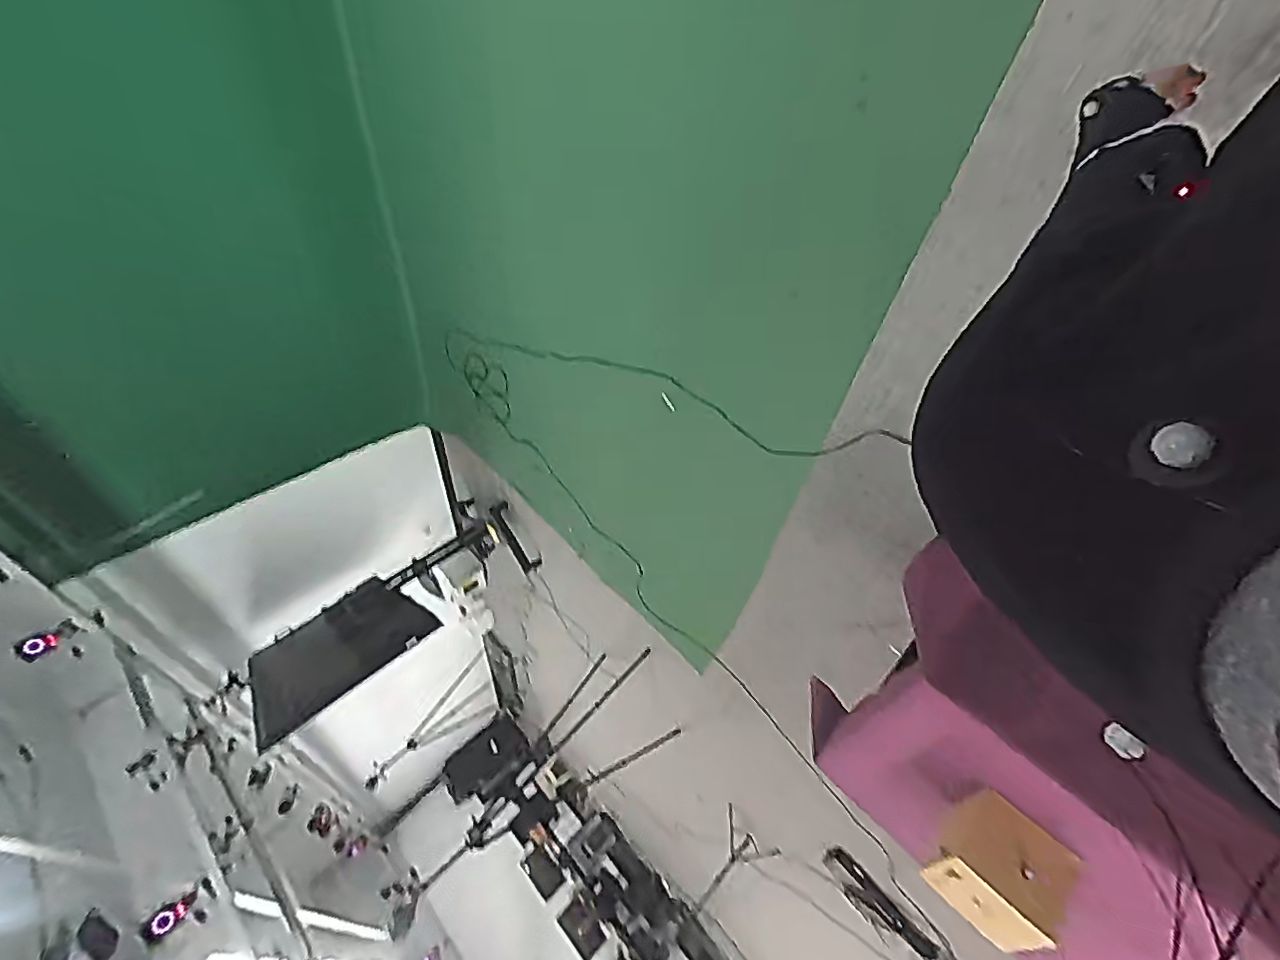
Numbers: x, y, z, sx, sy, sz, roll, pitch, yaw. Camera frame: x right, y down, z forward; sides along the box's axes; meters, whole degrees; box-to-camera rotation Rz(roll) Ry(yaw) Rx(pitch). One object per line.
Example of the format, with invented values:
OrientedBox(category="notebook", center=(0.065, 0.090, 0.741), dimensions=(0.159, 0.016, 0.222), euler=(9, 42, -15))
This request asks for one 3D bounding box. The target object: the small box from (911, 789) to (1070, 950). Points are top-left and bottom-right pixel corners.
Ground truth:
OrientedBox(category="small box", center=(0.667, 0.737, 1.031), dimensions=(0.179, 0.176, 0.168), euler=(38, 143, 26))
